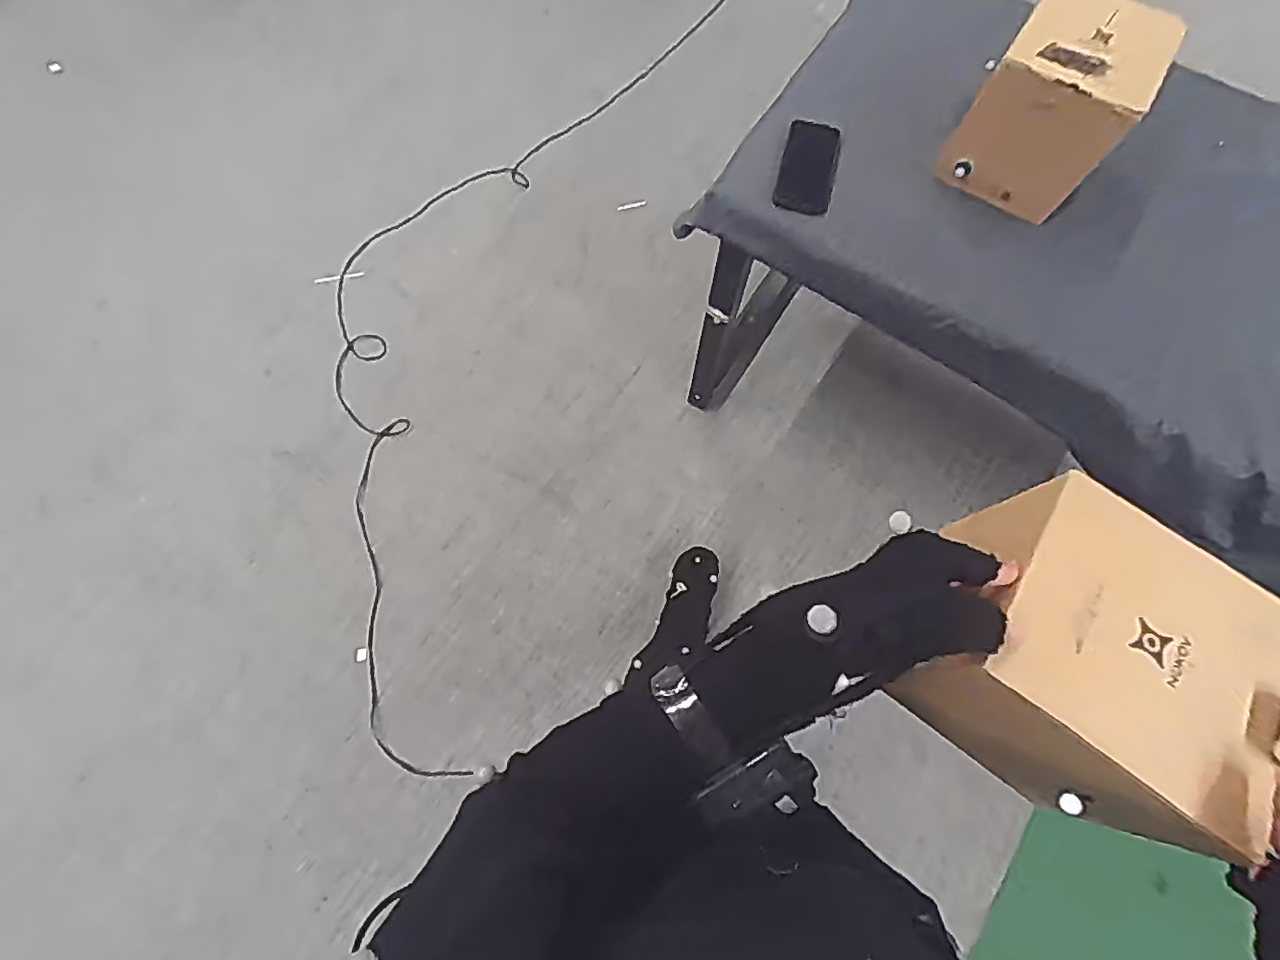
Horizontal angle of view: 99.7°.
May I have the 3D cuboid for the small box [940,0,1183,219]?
[{"bbox_3d":[0.536,-0.491,0.716,0.168,0.176,0.179,32,75,8],"label":"small box"}]
